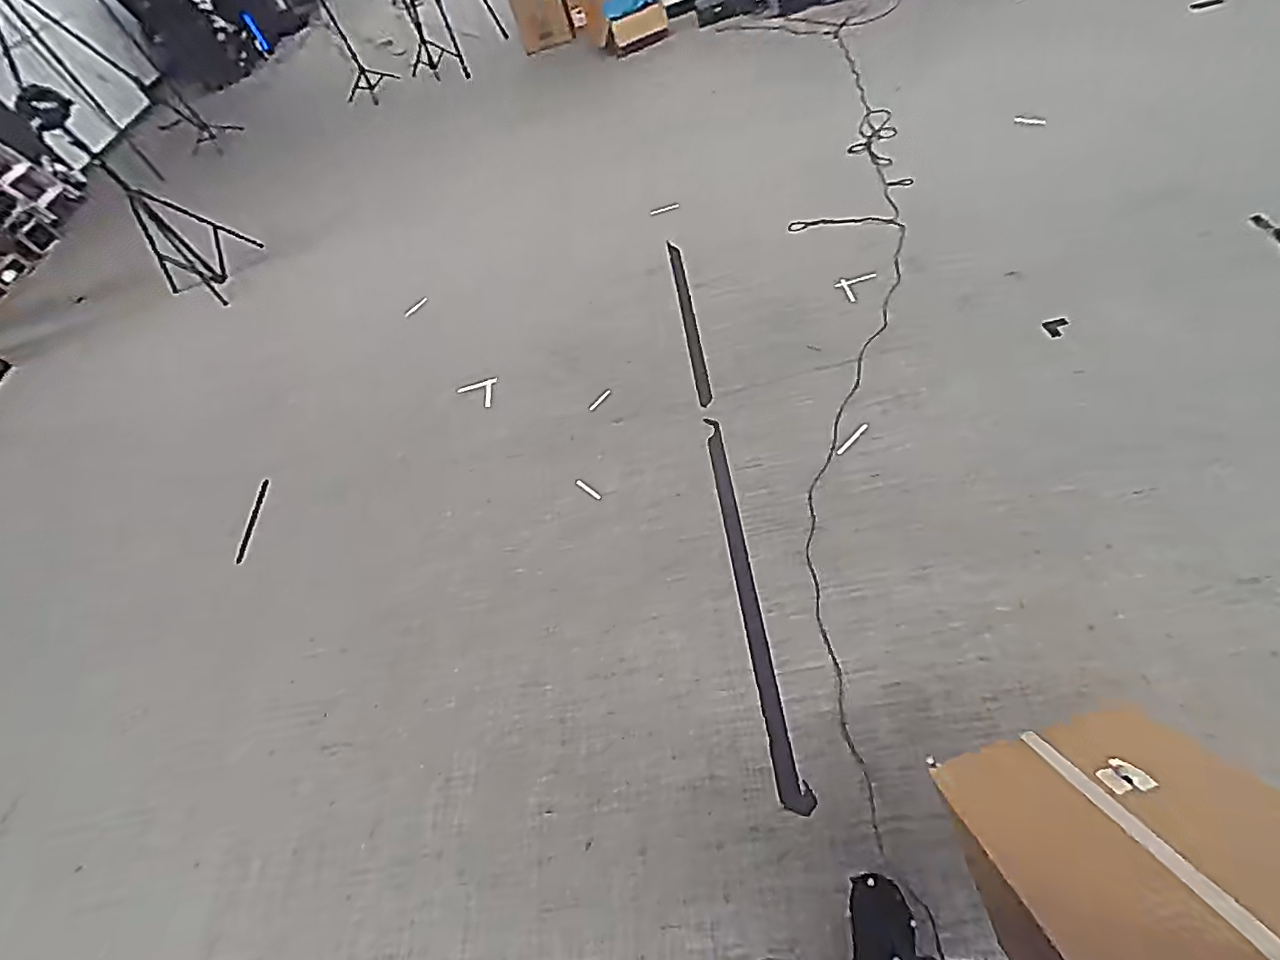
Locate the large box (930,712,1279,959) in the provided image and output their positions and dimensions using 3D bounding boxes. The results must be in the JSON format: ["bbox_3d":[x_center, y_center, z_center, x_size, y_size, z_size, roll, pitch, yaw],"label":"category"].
[{"bbox_3d":[0.639,0.560,0.643,0.320,0.408,0.320,-22,92,5],"label":"large box"}]
